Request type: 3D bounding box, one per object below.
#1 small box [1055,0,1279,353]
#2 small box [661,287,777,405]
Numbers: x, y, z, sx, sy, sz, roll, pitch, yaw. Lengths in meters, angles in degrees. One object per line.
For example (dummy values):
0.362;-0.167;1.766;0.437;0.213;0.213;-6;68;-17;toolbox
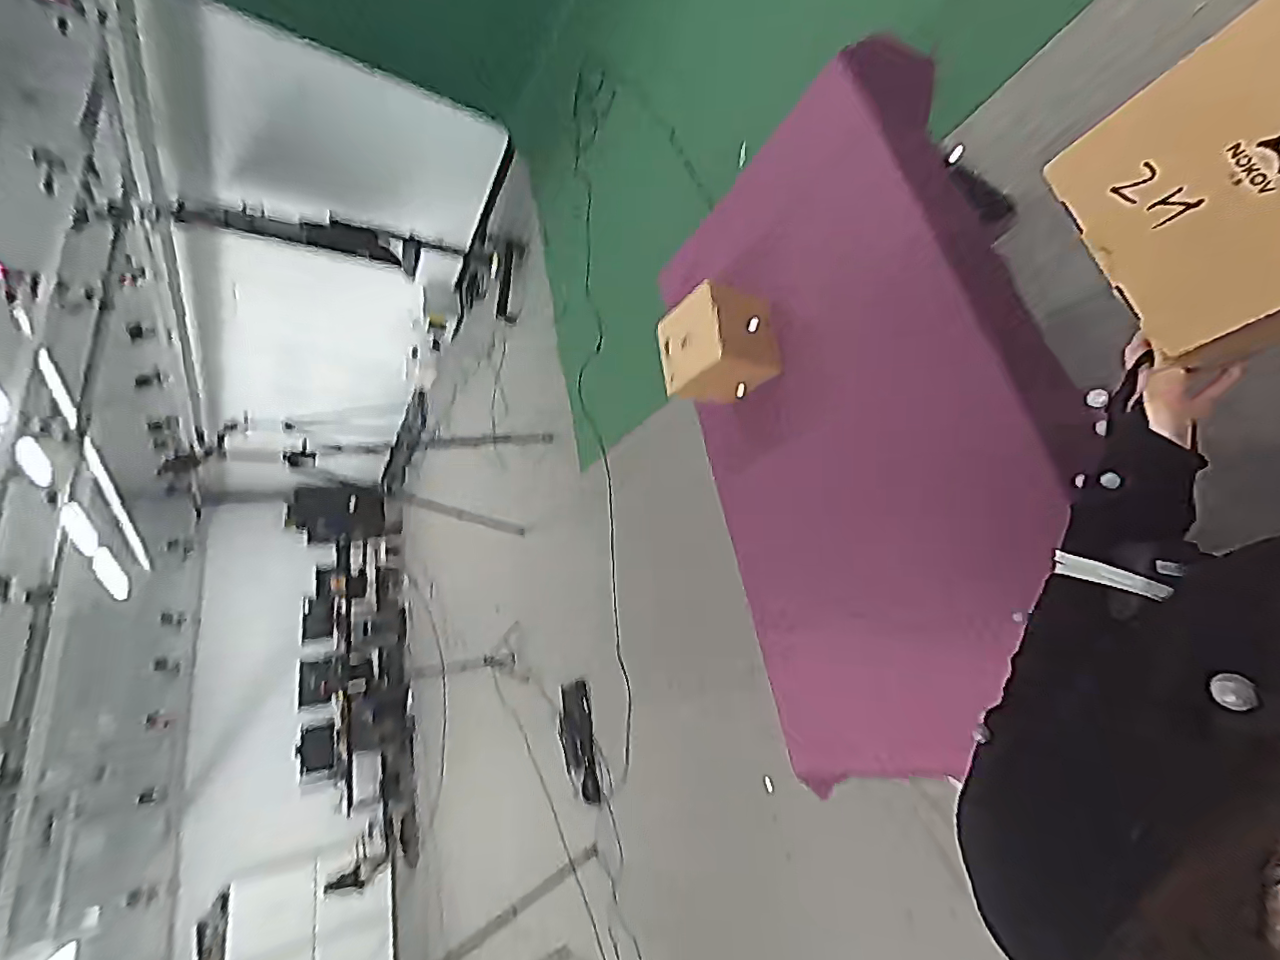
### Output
0.430;-0.200;0.353;0.179;0.176;0.168;-35;65;51;small box
0.169;-0.271;1.135;0.179;0.176;0.168;-28;64;51;small box
